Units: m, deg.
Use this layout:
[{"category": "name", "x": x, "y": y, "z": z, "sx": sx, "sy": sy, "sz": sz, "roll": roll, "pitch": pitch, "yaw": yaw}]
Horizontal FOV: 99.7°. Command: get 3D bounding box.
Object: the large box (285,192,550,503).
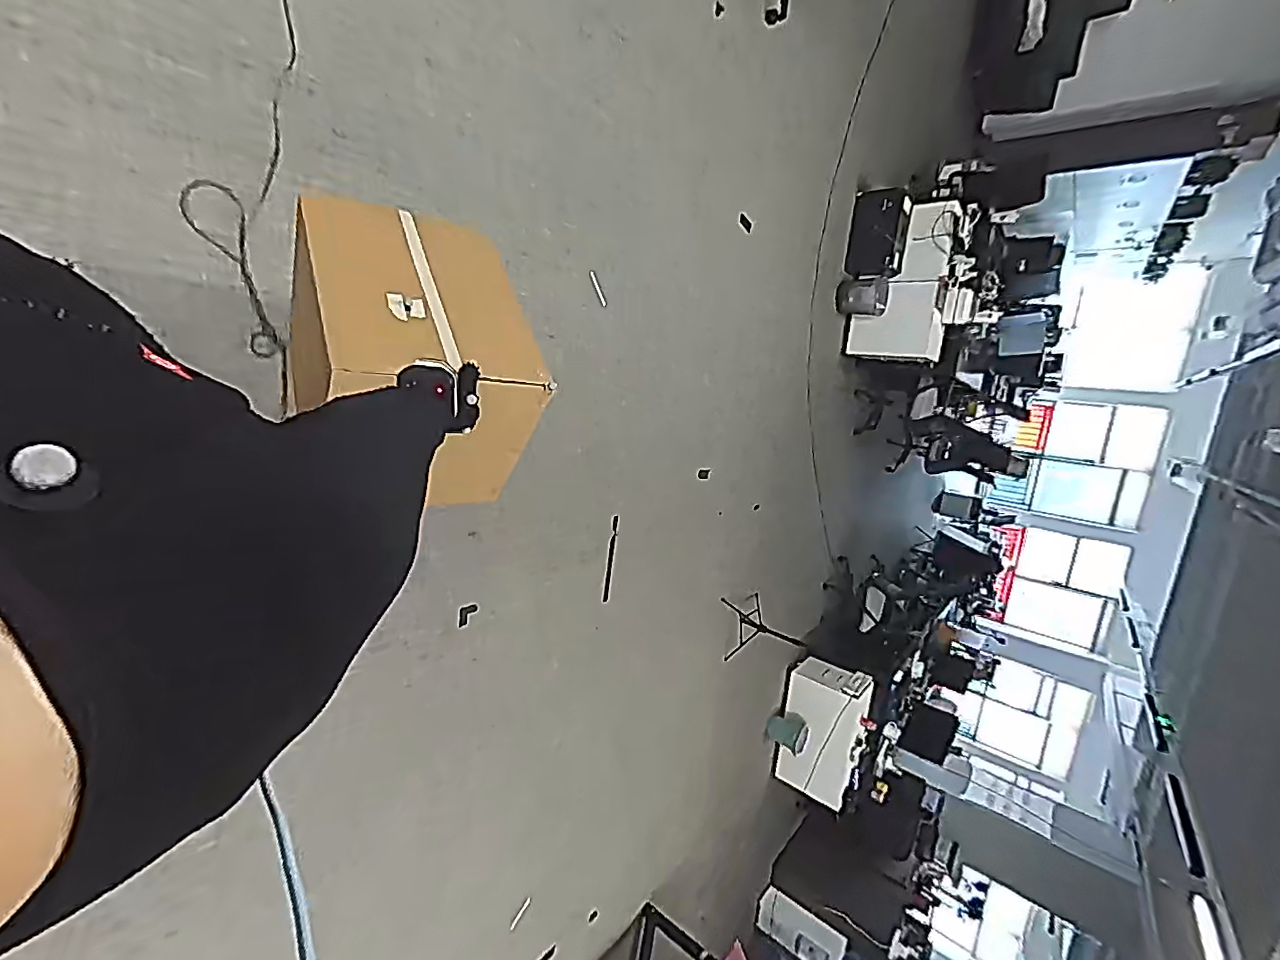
[{"category": "large box", "x": -0.413, "y": -0.212, "z": 0.954, "sx": 0.320, "sy": 0.408, "sz": 0.320, "roll": -3, "pitch": 146, "yaw": -38}]
